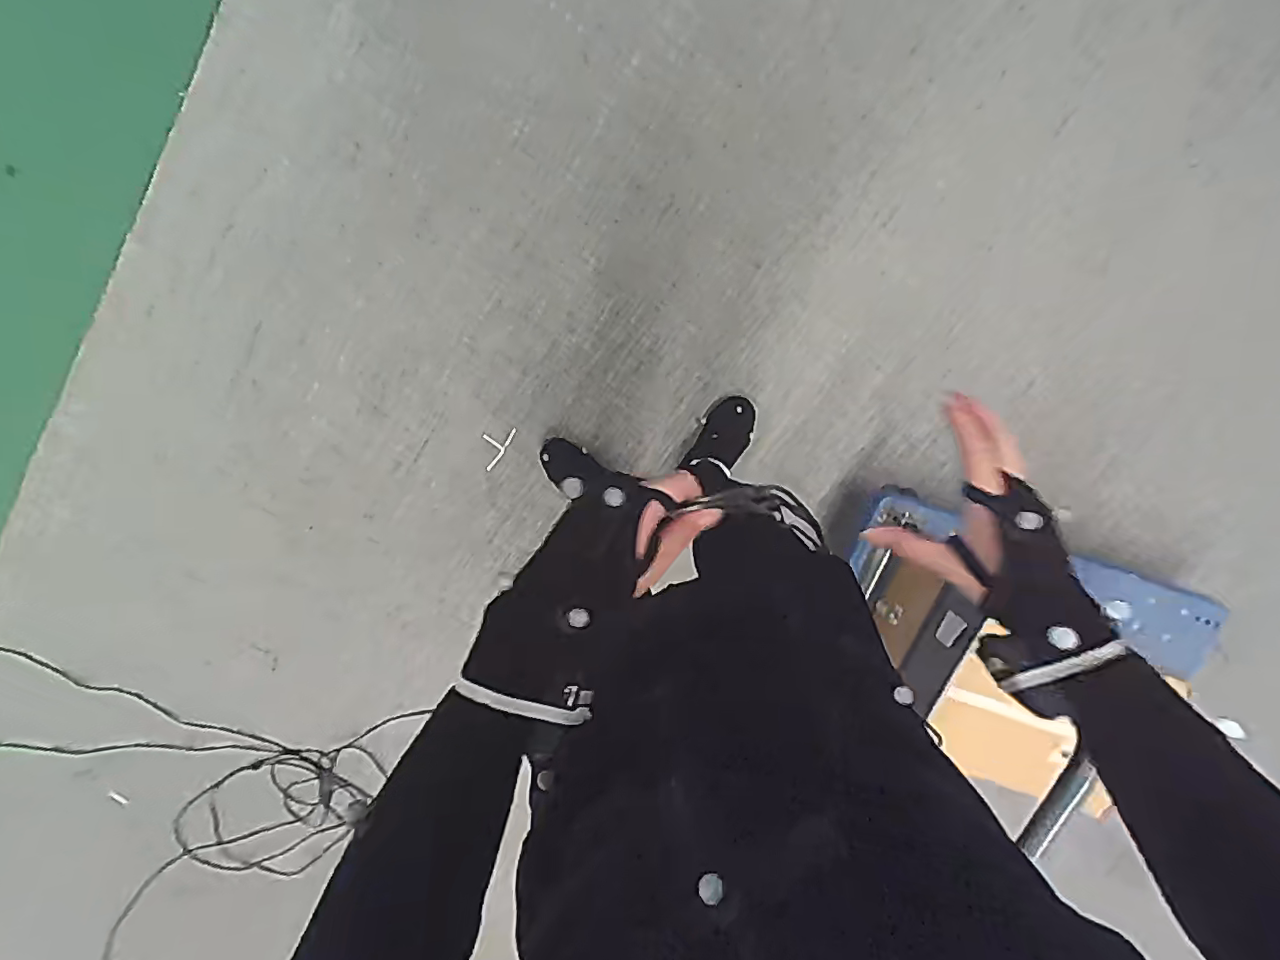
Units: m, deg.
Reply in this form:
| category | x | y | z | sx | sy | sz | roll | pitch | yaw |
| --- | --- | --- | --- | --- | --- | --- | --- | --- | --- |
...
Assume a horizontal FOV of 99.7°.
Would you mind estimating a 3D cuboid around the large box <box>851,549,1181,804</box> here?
| category | x | y | z | sx | sy | sz | roll | pitch | yaw |
| --- | --- | --- | --- | --- | --- | --- | --- | --- | --- |
| large box | 0.733 | 0.386 | 1.132 | 0.408 | 0.320 | 0.320 | 19 | 105 | -4 |
